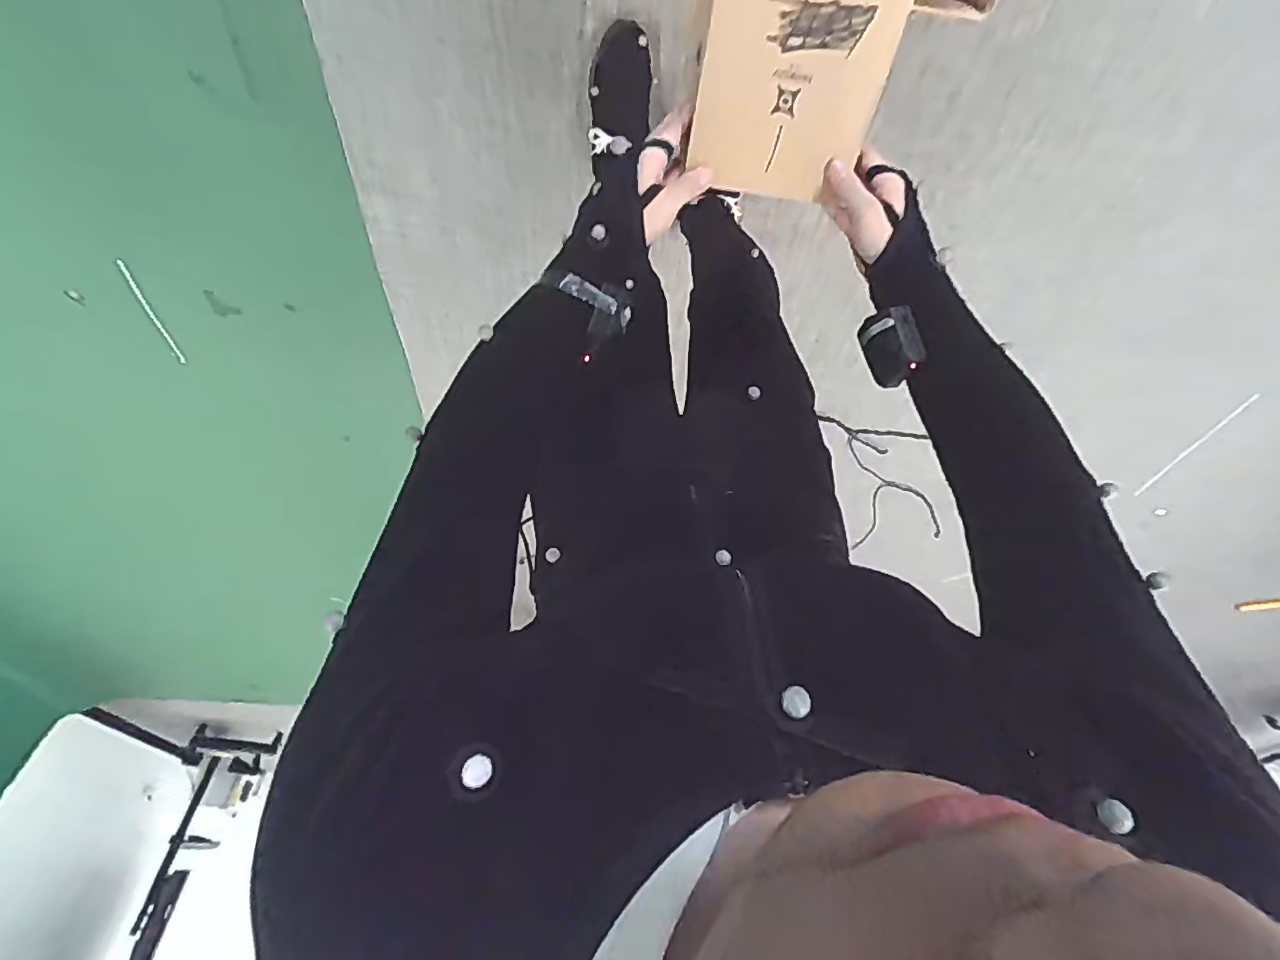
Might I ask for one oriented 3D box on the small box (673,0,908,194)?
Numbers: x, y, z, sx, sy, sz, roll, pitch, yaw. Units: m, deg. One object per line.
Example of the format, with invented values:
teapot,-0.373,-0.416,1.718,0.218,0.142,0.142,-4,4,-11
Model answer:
small box,0.129,-0.411,0.533,0.168,0.176,0.179,6,132,-6
